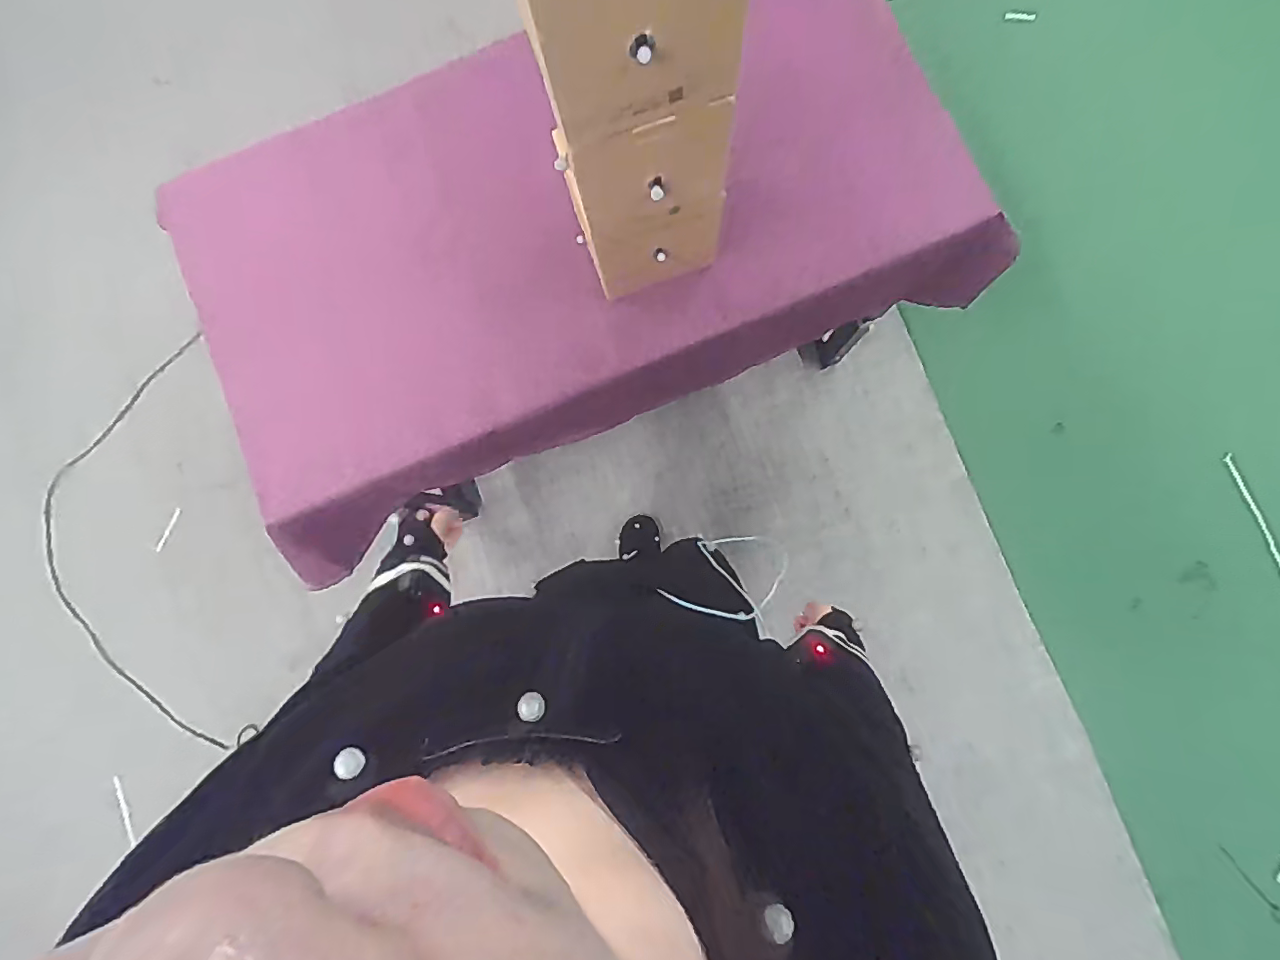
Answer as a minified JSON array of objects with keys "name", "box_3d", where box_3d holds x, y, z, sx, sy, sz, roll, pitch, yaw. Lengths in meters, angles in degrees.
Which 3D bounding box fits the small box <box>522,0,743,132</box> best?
[{"name":"small box","box_3d":[-0.018,-0.418,0.429,0.168,0.176,0.179,-18,83,1]}]

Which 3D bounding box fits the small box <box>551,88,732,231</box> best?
[{"name":"small box","box_3d":[-0.007,-0.403,0.594,0.168,0.176,0.179,-16,84,1]}]
